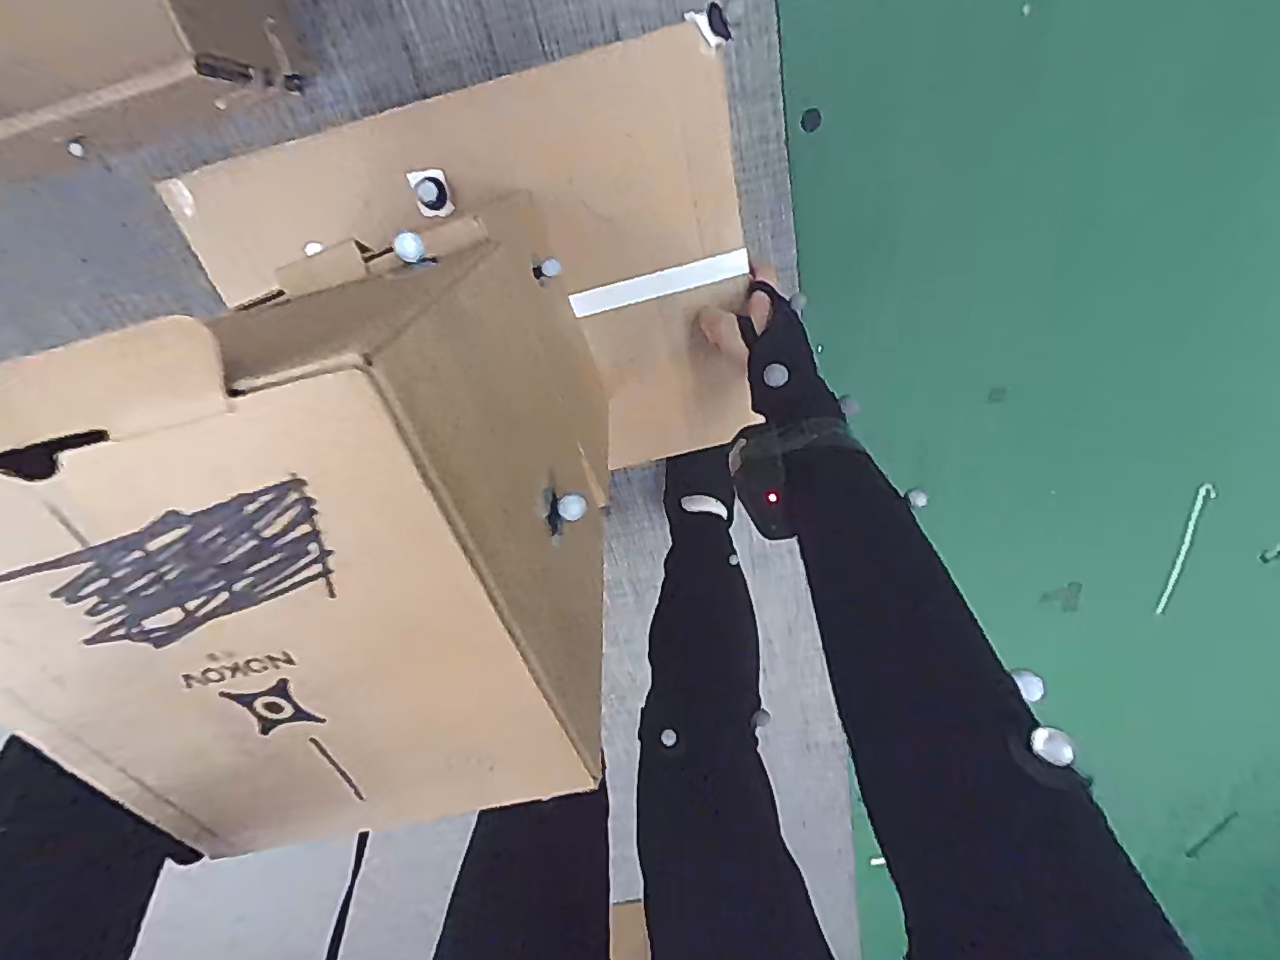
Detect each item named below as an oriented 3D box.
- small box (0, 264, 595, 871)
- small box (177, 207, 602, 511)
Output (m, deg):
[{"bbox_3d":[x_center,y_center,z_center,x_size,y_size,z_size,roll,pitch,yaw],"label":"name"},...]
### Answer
[{"bbox_3d":[-0.121,0.021,0.230,0.168,0.176,0.179,-14,121,6],"label":"small box"},{"bbox_3d":[-0.131,-0.069,0.367,0.168,0.176,0.179,-18,120,8],"label":"small box"}]
